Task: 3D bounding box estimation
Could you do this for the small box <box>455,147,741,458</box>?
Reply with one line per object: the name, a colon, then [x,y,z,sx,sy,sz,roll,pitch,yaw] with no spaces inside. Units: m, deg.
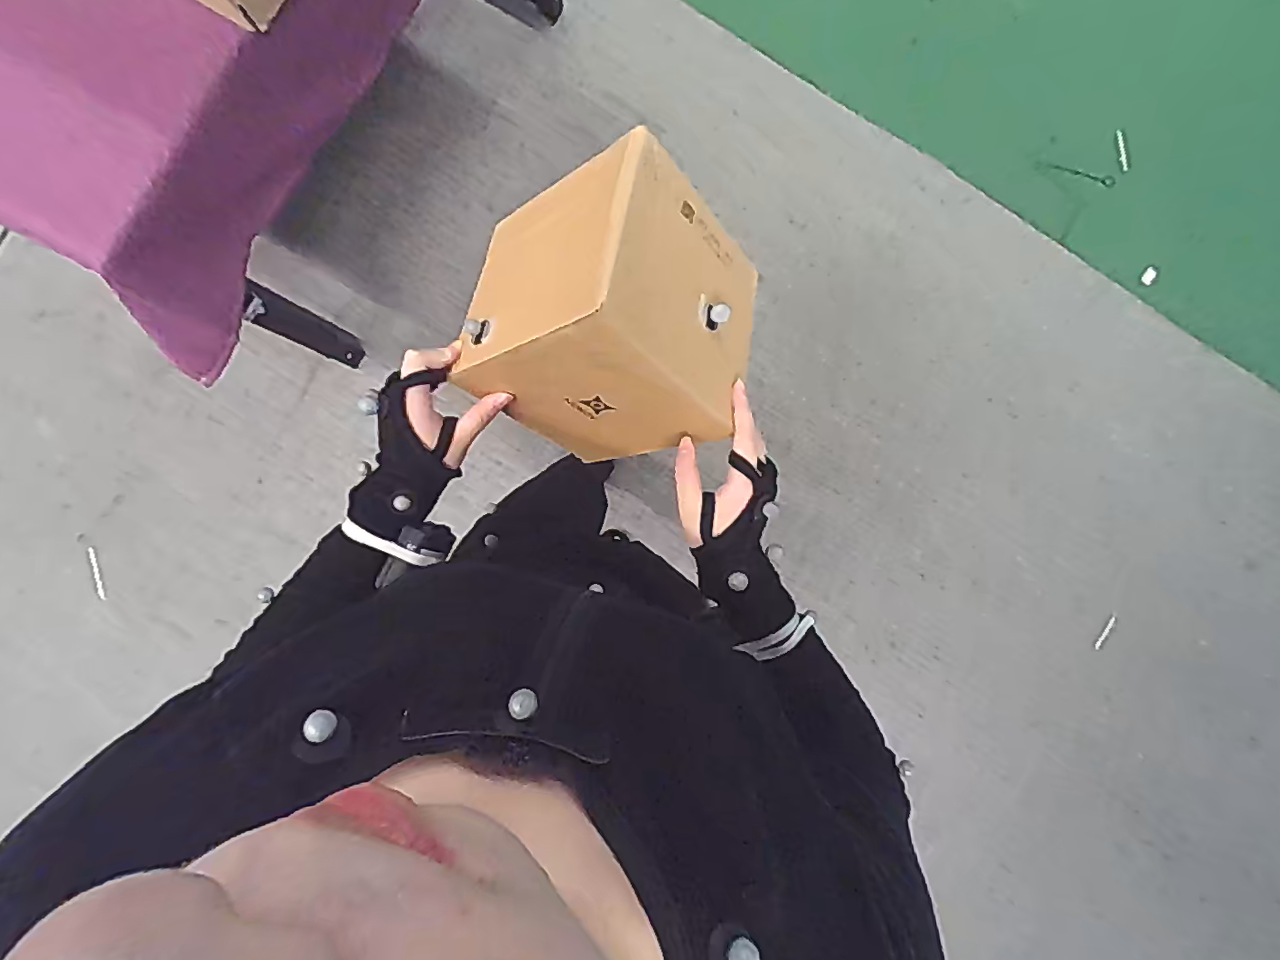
small box: [-0.025,-0.137,0.468,0.179,0.168,0.176,-8,62,41]
